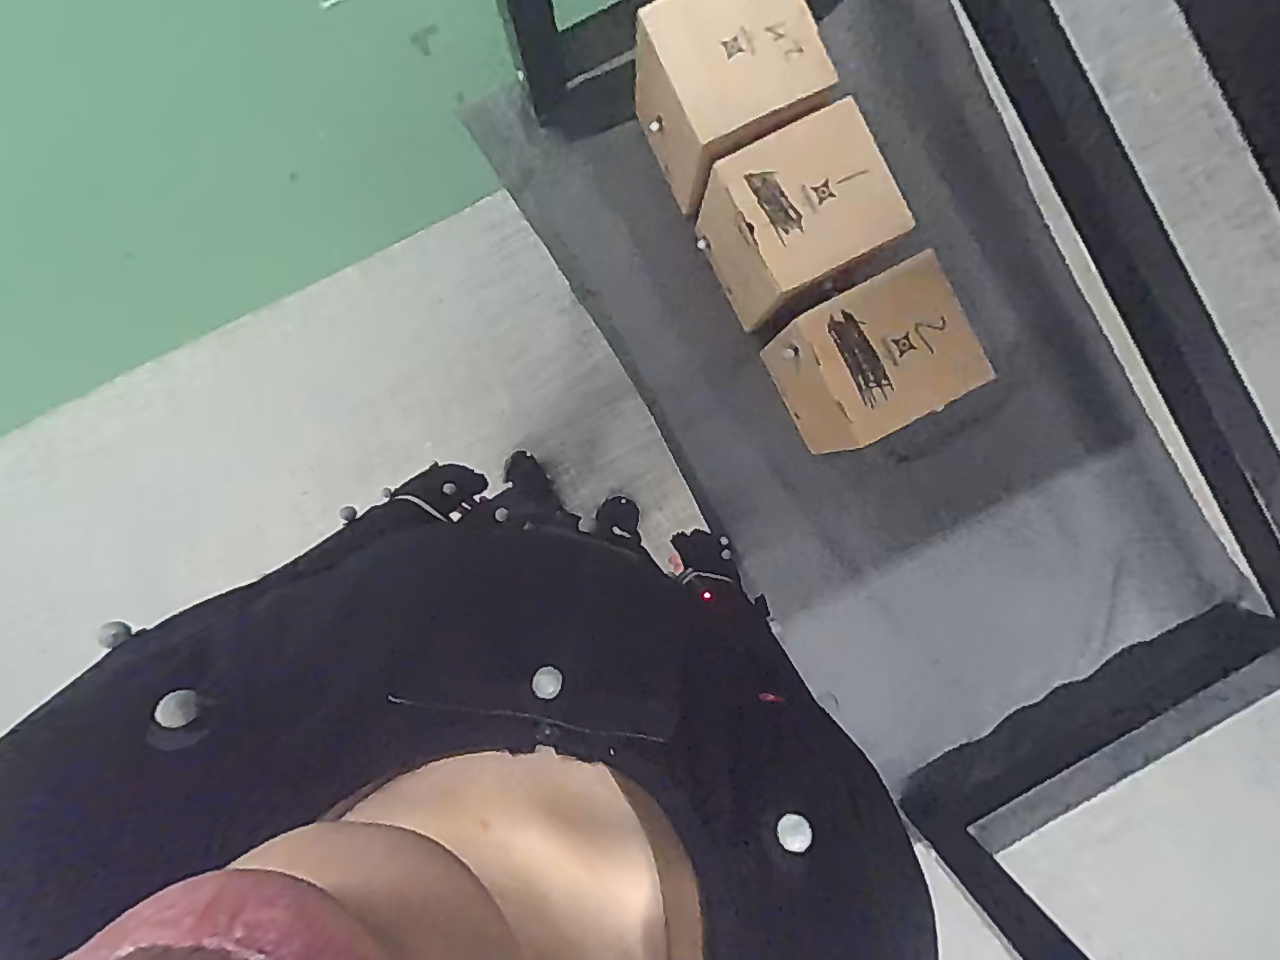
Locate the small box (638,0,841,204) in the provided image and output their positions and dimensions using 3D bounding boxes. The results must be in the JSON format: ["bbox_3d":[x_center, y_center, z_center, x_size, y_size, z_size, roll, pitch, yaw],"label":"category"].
[{"bbox_3d":[0.108,-0.479,0.666,0.179,0.176,0.168,-25,93,-1],"label":"small box"}]
